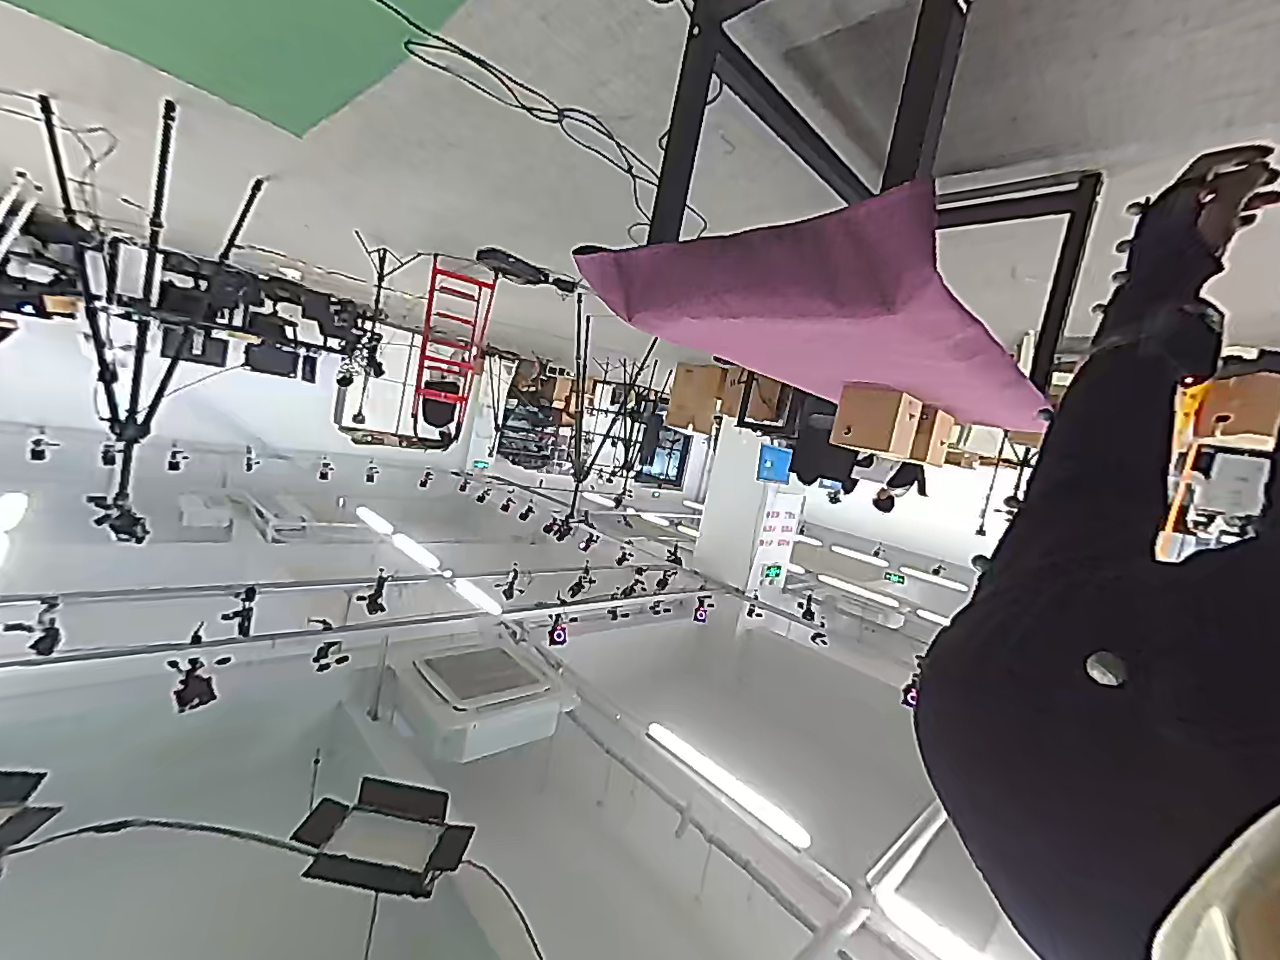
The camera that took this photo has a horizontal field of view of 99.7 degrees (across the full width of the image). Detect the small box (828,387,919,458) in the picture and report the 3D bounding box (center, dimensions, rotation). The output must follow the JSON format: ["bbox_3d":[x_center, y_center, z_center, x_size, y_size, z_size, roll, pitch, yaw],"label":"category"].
[{"bbox_3d":[0.675,-0.169,1.560,0.179,0.176,0.168,15,-173,43],"label":"small box"}]

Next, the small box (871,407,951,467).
[{"bbox_3d":[0.867,-0.145,1.727,0.179,0.176,0.168,5,-172,-46],"label":"small box"}]
